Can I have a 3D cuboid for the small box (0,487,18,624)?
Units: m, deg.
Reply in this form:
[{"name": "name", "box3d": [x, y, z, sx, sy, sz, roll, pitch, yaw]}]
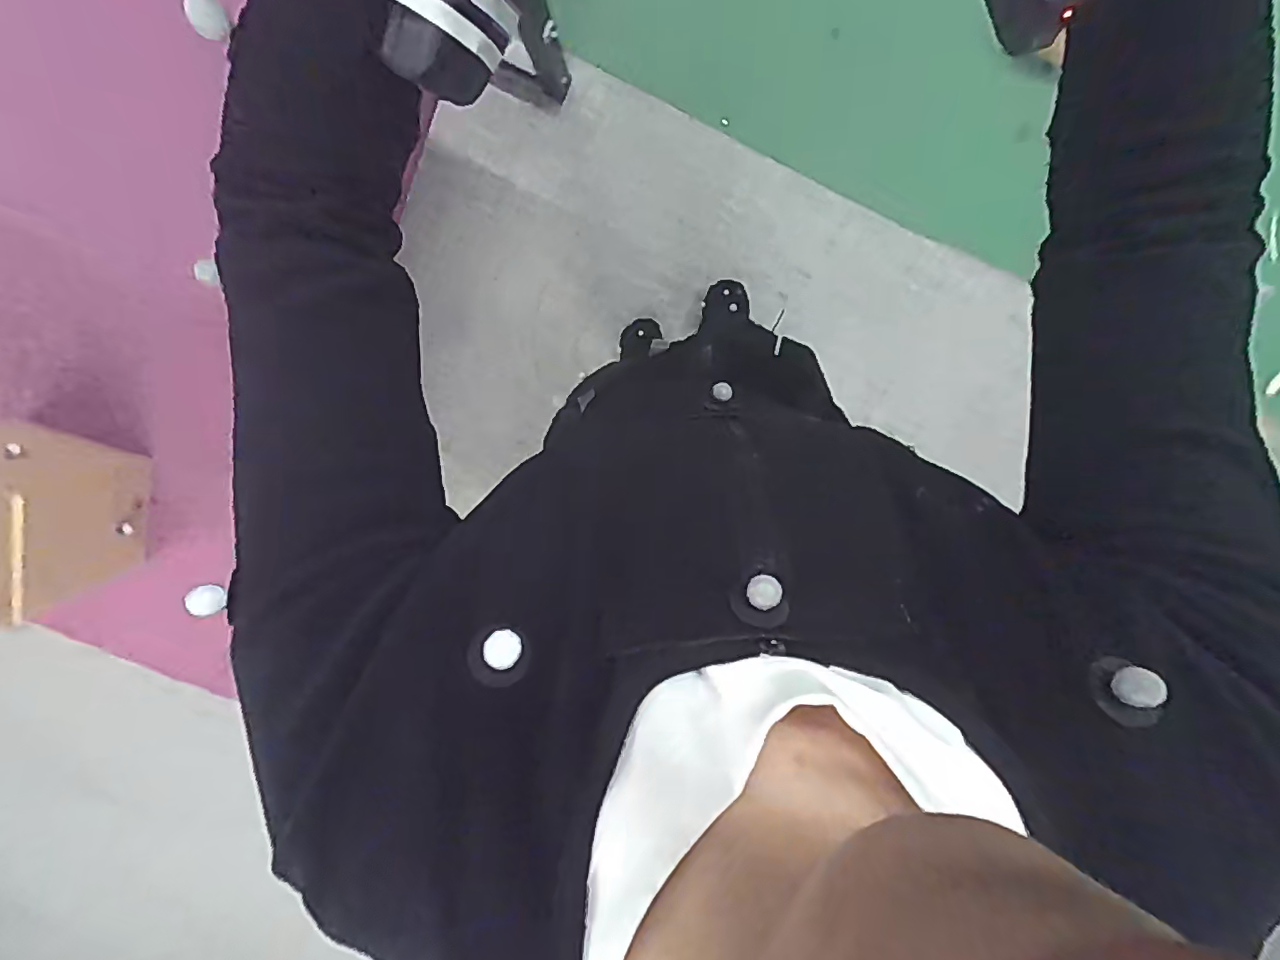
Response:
[{"name": "small box", "box3d": [-0.774, 0.085, 0.523, 0.168, 0.176, 0.179, 16, 105, -4]}]
